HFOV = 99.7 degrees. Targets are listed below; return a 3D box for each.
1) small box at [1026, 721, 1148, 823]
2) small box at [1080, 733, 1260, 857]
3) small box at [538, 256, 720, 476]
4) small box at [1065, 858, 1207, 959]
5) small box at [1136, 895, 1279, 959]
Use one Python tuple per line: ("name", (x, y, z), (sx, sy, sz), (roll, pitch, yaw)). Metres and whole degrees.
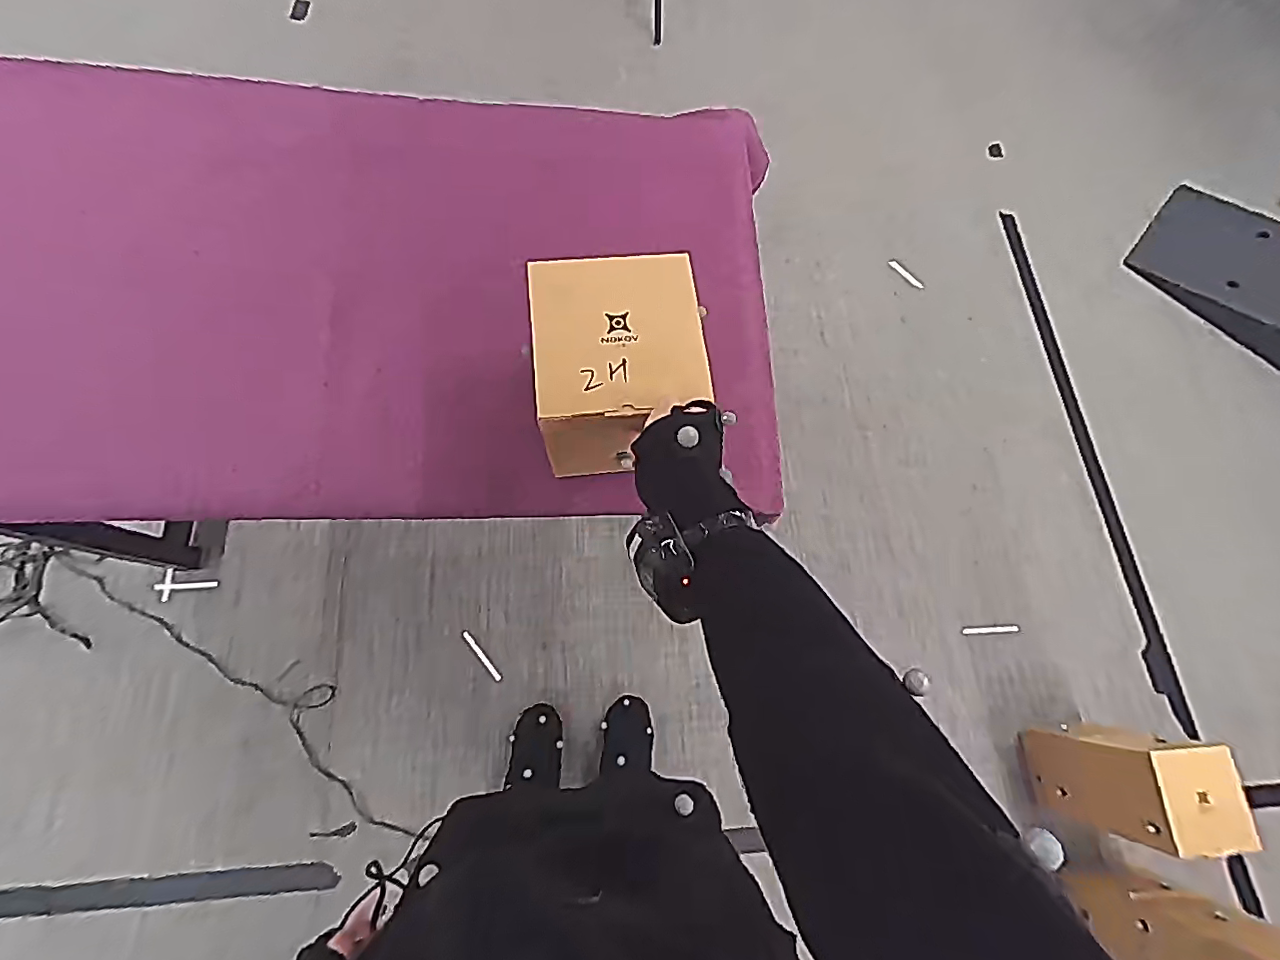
("small box", (1.012, 0.648, 1.216), (0.179, 0.176, 0.168), (-3, 74, -7))
("small box", (1.018, 0.603, 1.060), (0.168, 0.176, 0.179), (-2, 74, -6))
("small box", (-0.020, -0.117, 0.594), (0.168, 0.176, 0.179), (-5, 72, -5))
("small box", (1.042, 0.925, 1.130), (0.168, 0.176, 0.179), (3, 73, -4))
("small box", (1.050, 0.878, 0.972), (0.179, 0.176, 0.168), (2, 72, -5))
